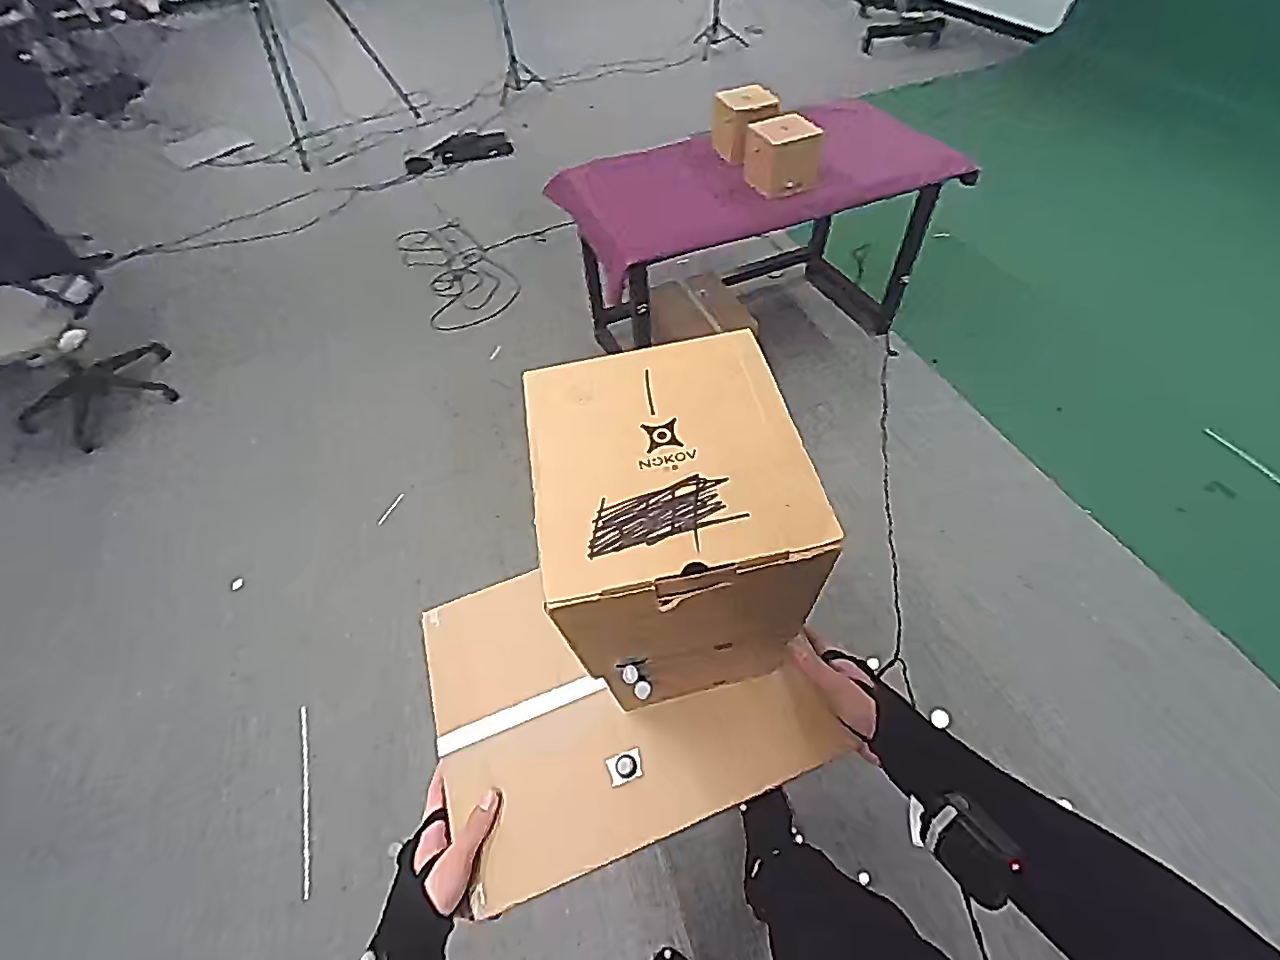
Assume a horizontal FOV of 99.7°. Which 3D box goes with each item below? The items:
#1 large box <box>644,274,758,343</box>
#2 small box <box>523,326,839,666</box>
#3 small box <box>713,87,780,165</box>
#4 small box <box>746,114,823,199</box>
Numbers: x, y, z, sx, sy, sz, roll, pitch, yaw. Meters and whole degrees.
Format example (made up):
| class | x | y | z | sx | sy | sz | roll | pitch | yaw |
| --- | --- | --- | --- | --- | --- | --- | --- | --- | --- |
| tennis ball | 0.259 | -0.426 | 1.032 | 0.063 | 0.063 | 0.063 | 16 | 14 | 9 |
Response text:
| class | x | y | z | sx | sy | sz | roll | pitch | yaw |
| --- | --- | --- | --- | --- | --- | --- | --- | --- | --- |
| large box | 0.242 | -0.569 | 2.213 | 0.320 | 0.320 | 0.408 | -19 | 53 | -10 |
| small box | 0.021 | 0.023 | 0.391 | 0.168 | 0.176 | 0.179 | -11 | 56 | -1 |
| small box | 0.359 | -1.216 | 1.858 | 0.168 | 0.176 | 0.179 | -18 | 55 | -9 |
| small box | 0.444 | -1.011 | 1.695 | 0.168 | 0.176 | 0.179 | -19 | 53 | -8 |
